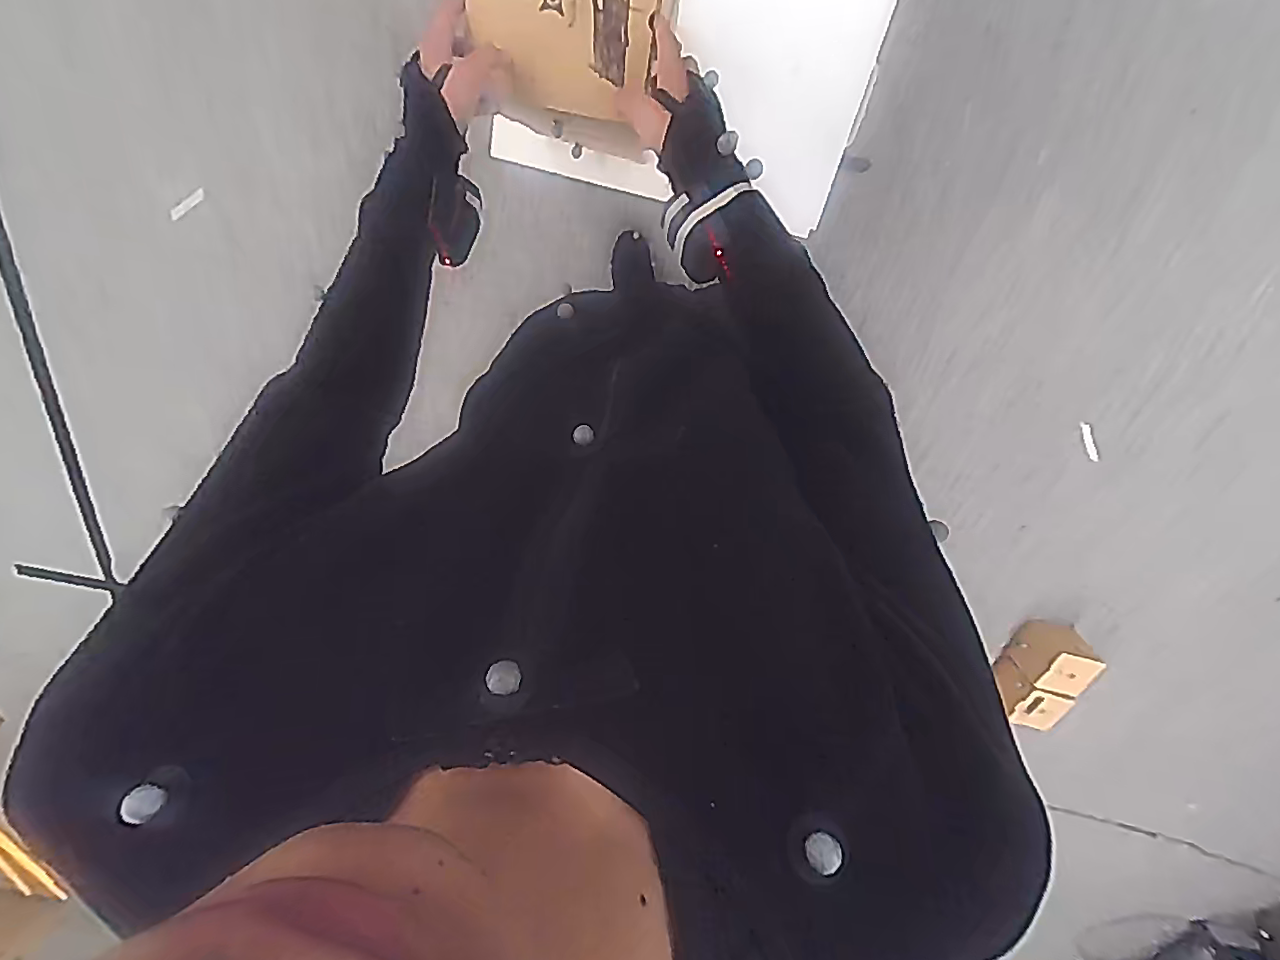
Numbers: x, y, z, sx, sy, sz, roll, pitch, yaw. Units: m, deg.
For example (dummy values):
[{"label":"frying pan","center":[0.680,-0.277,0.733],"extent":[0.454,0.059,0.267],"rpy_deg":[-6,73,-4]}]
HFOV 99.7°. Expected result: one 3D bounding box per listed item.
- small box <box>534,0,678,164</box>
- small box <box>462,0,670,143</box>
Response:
[{"label":"small box","center":[-0.054,-0.530,0.697],"extent":[0.168,0.176,0.179],"rpy_deg":[13,116,-4]},{"label":"small box","center":[-0.066,-0.458,0.551],"extent":[0.179,0.176,0.168],"rpy_deg":[10,116,-1]}]
